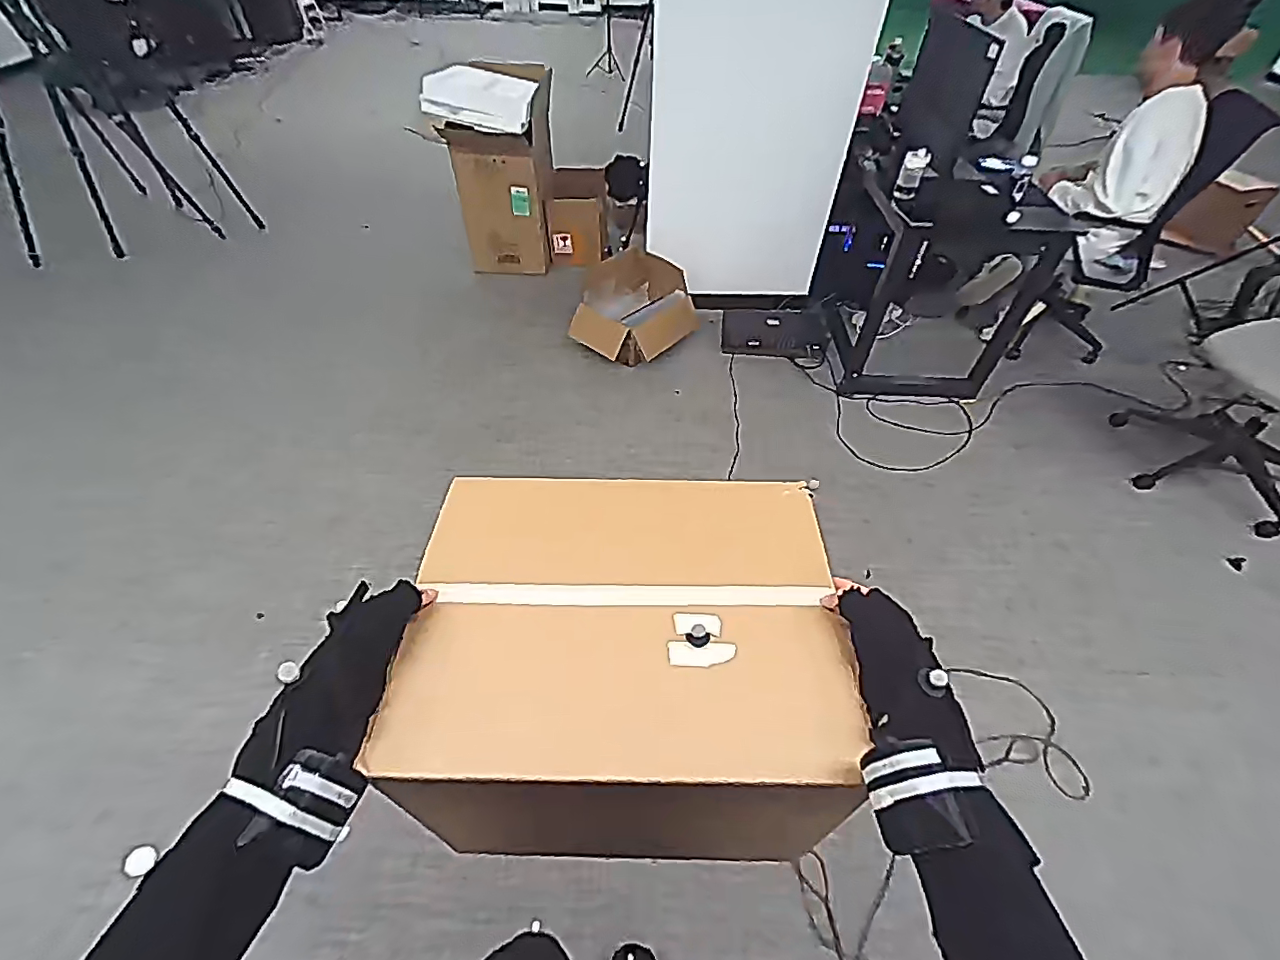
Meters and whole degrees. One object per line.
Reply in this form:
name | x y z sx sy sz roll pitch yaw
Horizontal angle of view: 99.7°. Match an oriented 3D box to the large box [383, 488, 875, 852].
large box | -0.010 0.224 0.638 0.408 0.320 0.320 1 46 0
